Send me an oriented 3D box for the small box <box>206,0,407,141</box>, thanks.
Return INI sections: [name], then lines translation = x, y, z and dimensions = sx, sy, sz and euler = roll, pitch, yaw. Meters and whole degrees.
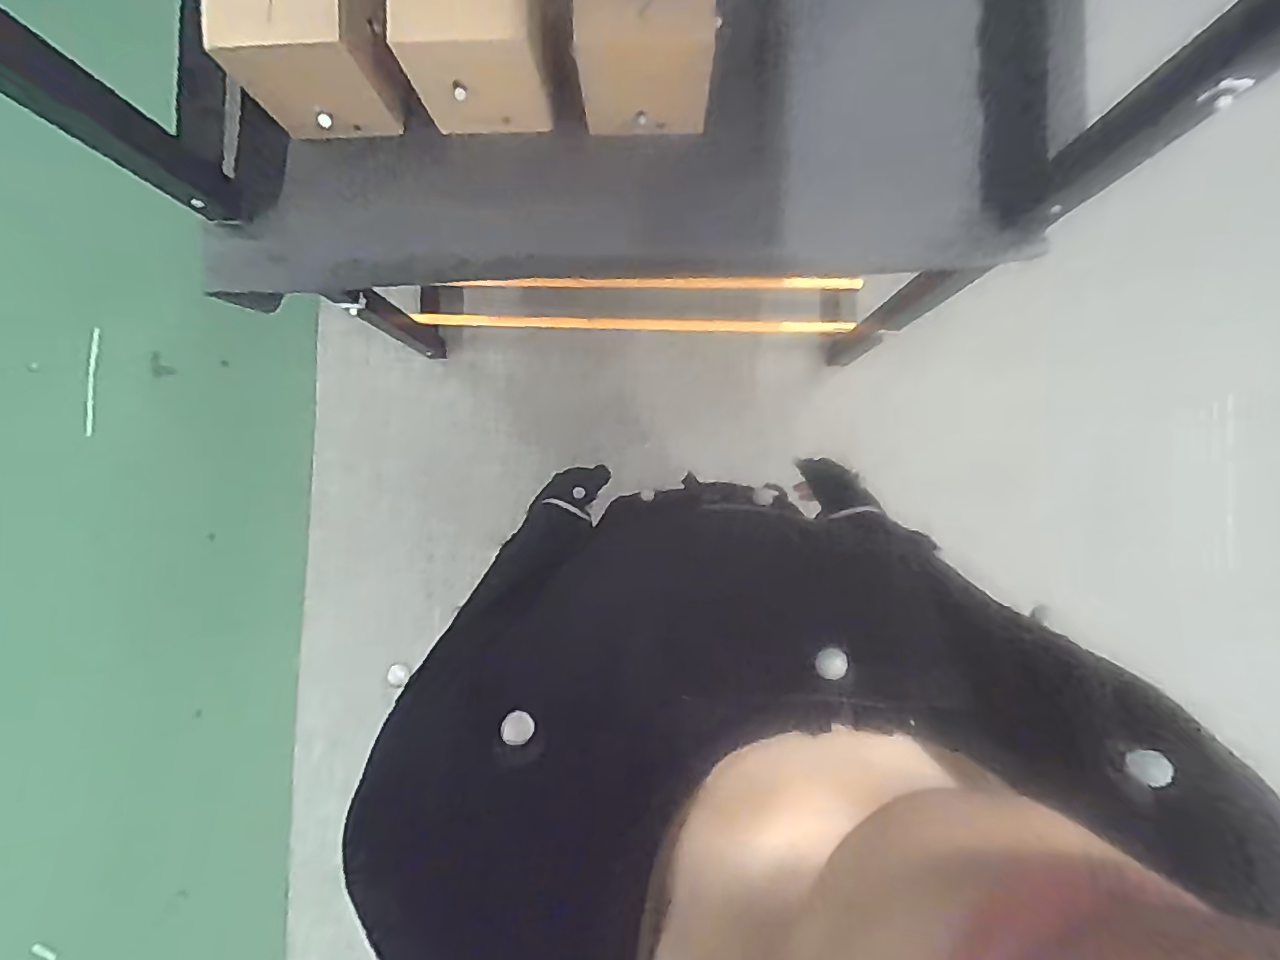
[small box]
translation = -0.427, -0.589, 0.717
dimensions = 0.168, 0.176, 0.179
euler = -1, 89, 2
